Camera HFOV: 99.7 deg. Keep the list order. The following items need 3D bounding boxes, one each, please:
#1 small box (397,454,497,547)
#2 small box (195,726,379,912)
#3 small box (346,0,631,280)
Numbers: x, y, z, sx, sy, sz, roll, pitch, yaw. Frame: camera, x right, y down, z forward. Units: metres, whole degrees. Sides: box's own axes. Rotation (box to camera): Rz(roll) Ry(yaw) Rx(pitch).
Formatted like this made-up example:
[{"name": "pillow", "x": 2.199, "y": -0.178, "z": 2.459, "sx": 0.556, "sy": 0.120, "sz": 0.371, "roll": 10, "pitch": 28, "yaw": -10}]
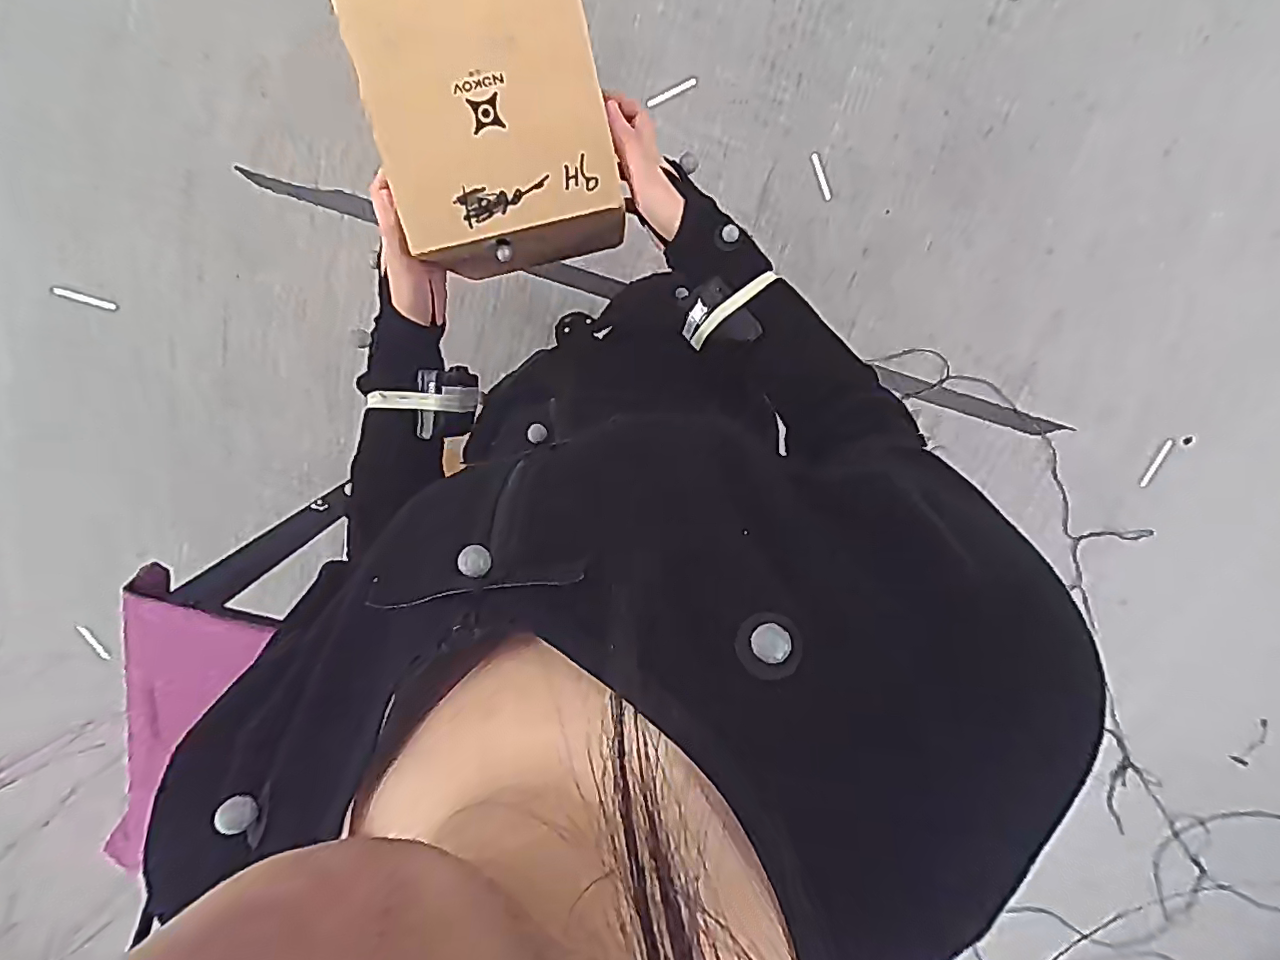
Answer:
[{"name": "small box", "x": -0.514, "y": 0.046, "z": 1.462, "sx": 0.179, "sy": 0.176, "sz": 0.168, "roll": 32, "pitch": 105, "yaw": -11}, {"name": "small box", "x": -0.546, "y": 0.522, "z": 0.853, "sx": 0.179, "sy": 0.176, "sz": 0.168, "roll": 17, "pitch": 109, "yaw": -6}, {"name": "small box", "x": -0.107, "y": -0.283, "z": 0.456, "sx": 0.168, "sy": 0.176, "sz": 0.179, "roll": -12, "pitch": 104, "yaw": 1}]
